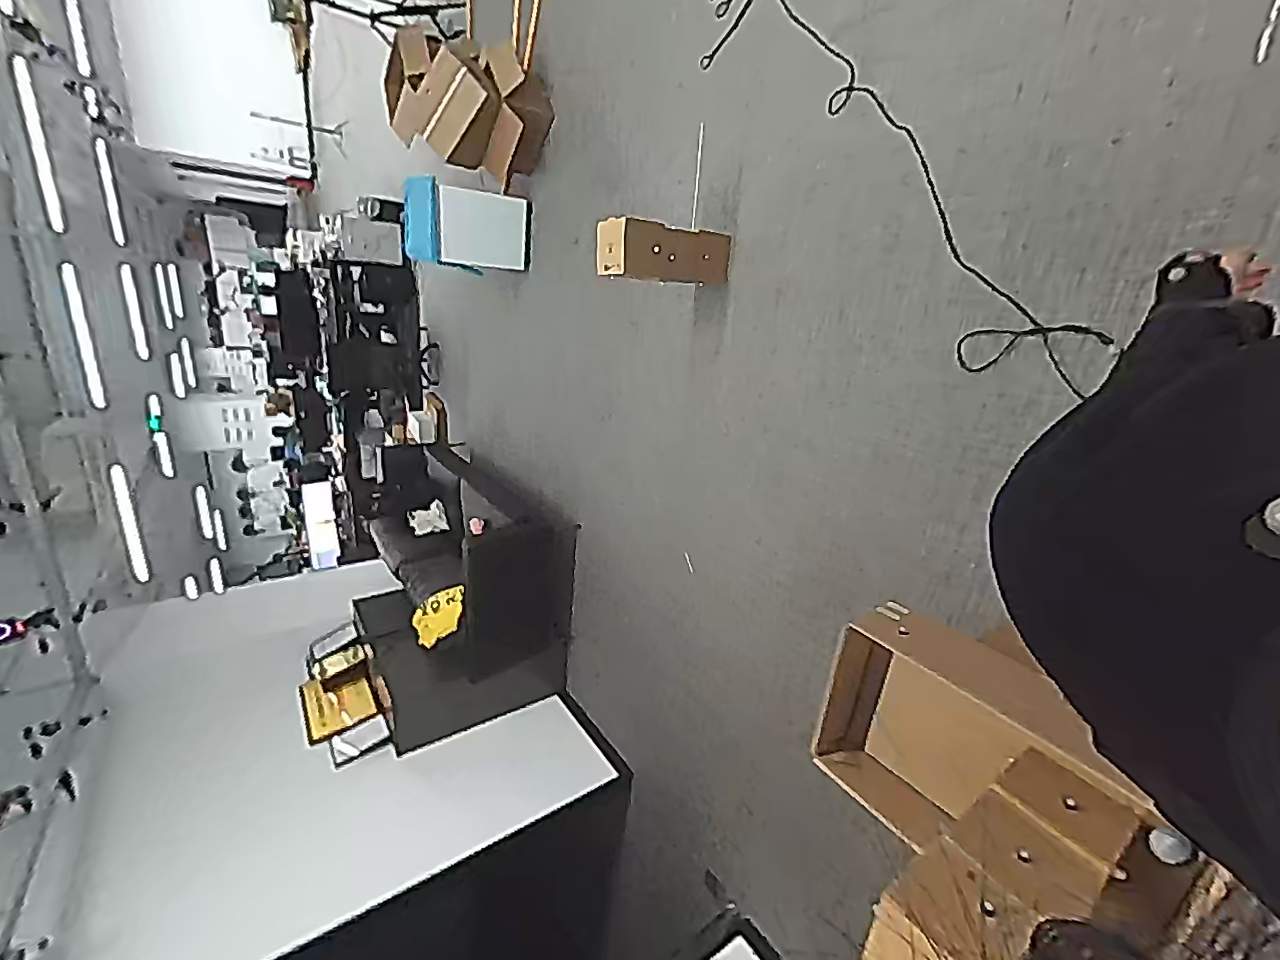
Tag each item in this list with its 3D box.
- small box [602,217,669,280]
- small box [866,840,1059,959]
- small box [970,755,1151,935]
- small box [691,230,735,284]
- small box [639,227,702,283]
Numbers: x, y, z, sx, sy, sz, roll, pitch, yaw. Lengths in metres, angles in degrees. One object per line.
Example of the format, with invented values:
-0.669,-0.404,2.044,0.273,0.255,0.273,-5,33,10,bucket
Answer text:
-0.014,-0.796,1.873,0.168,0.176,0.179,24,116,51,small box
0.454,0.672,0.769,0.168,0.176,0.179,28,119,50,small box
0.726,0.614,0.941,0.179,0.176,0.168,32,122,49,small box
0.245,-0.848,2.067,0.168,0.176,0.179,26,118,50,small box
0.110,-0.817,1.978,0.168,0.176,0.179,26,118,49,small box
